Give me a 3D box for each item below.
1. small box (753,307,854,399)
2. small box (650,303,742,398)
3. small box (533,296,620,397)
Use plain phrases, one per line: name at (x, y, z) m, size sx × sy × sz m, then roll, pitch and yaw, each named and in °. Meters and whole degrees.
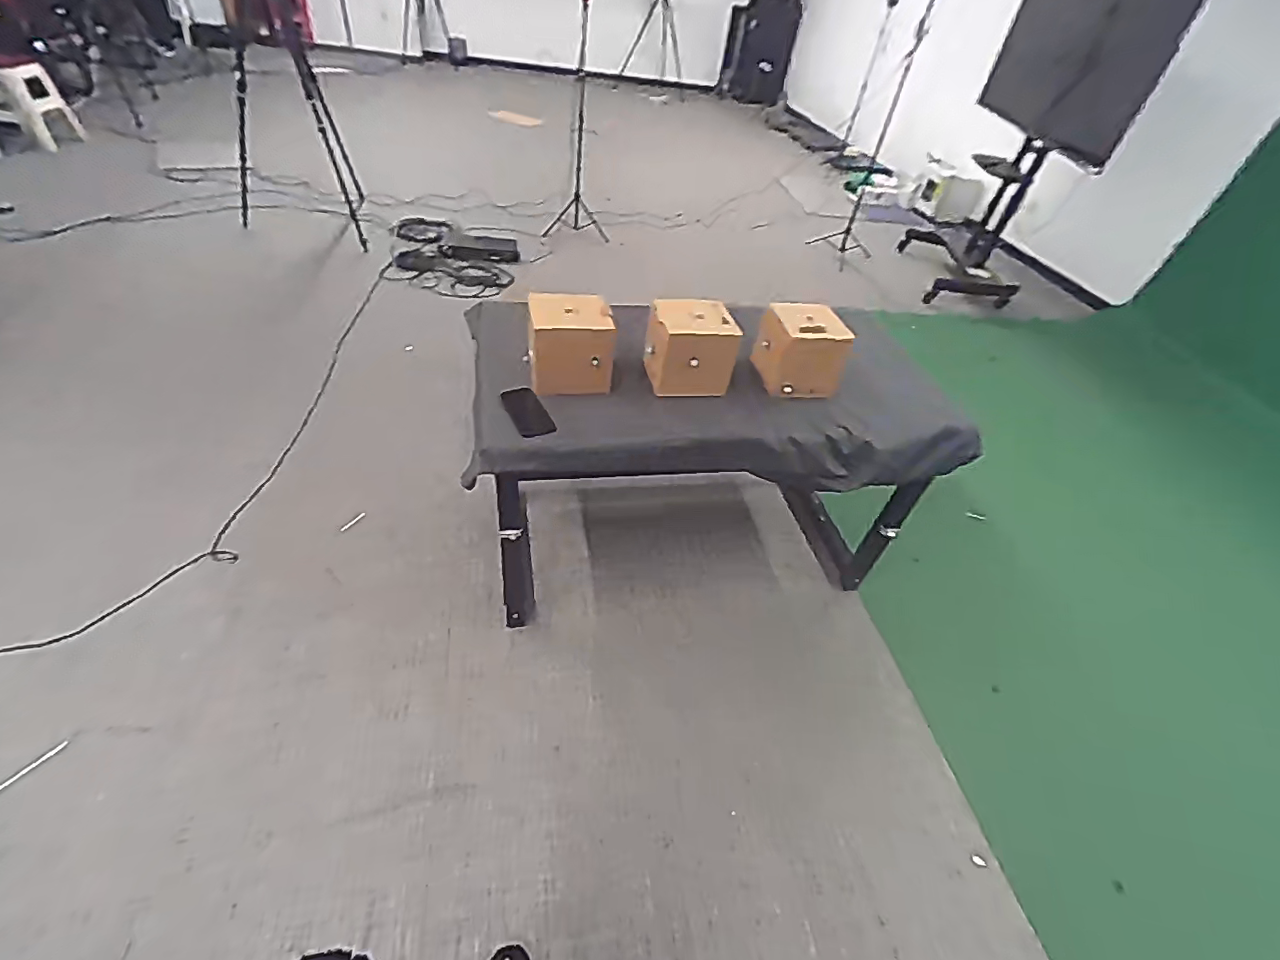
small box at (0.404, -0.318, 1.366) m, size 0.168 × 0.176 × 0.179 m, roll -1°, pitch 44°, yaw -12°
small box at (0.124, -0.311, 1.305) m, size 0.179 × 0.176 × 0.168 m, roll -3°, pitch 45°, yaw -13°
small box at (-0.154, -0.307, 1.249) m, size 0.179 × 0.176 × 0.168 m, roll -5°, pitch 45°, yaw -14°
